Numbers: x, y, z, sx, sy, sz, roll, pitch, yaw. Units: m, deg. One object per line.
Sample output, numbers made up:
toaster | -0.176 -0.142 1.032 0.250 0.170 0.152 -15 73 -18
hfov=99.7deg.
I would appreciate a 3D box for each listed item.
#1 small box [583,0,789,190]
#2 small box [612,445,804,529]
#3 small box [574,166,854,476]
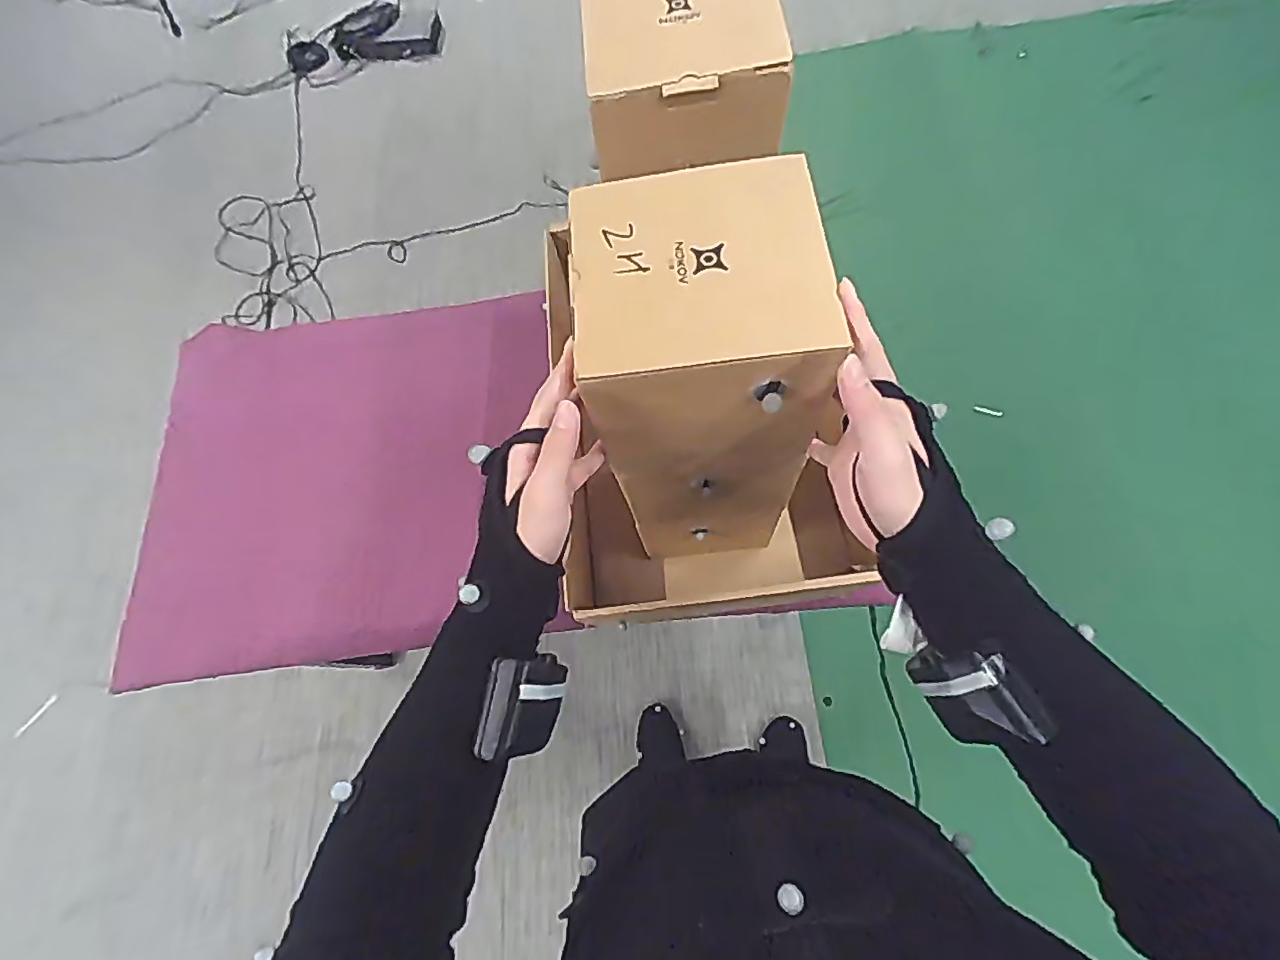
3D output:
small box | 0.041 -0.357 0.533 0.168 0.176 0.179 -5 71 3
small box | 0.067 -0.050 0.590 0.179 0.176 0.168 -5 69 5
small box | 0.049 -0.113 0.439 0.179 0.176 0.168 -6 68 5
